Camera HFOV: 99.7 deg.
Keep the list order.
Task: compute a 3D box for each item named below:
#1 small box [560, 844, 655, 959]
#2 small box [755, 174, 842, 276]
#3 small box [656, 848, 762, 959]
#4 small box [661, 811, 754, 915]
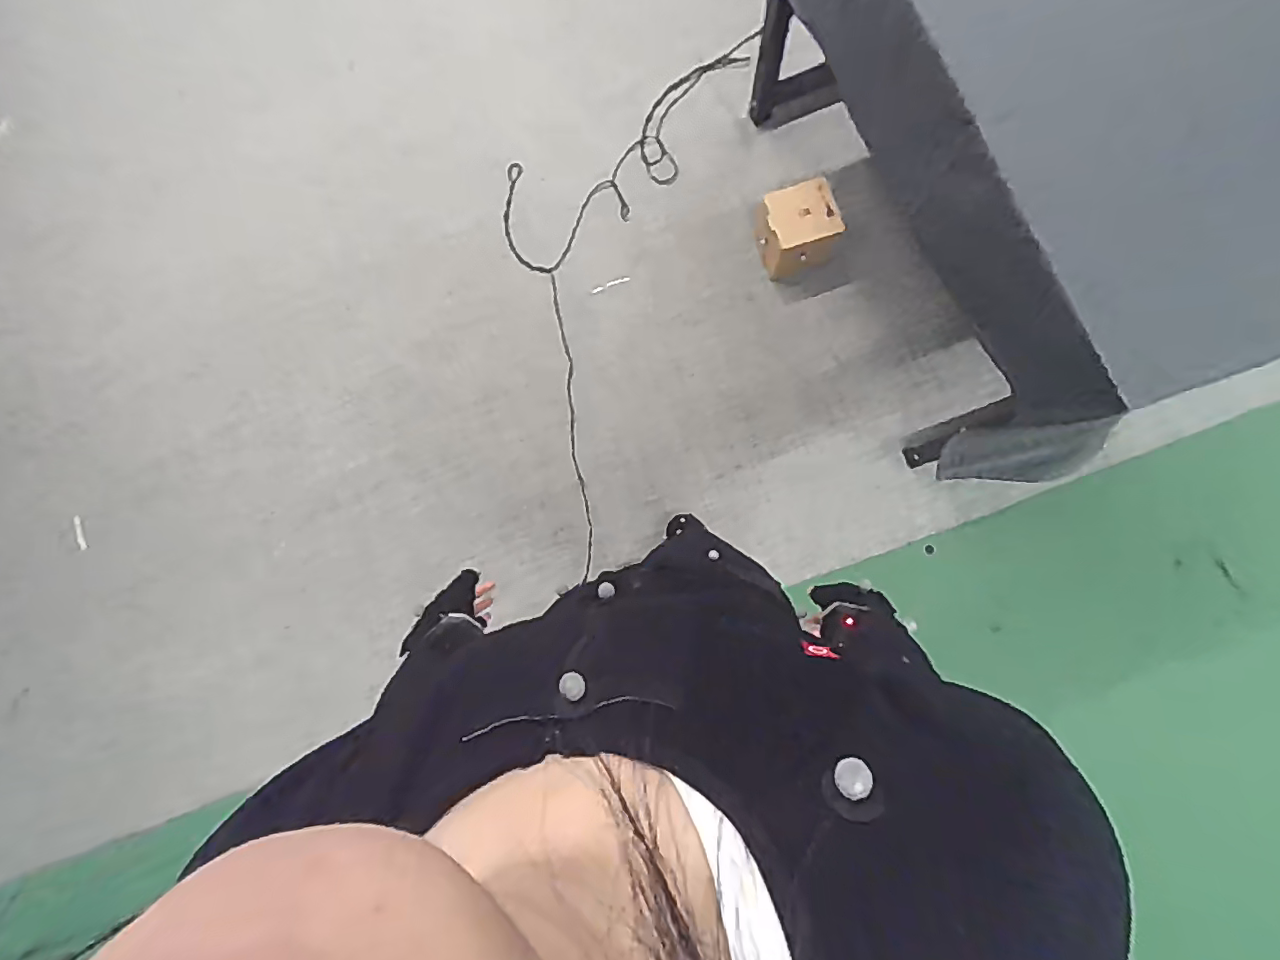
[{"bbox_3d":[-0.071,1.041,1.311,0.168,0.176,0.179,-26,83,0],"label":"small box"},{"bbox_3d":[0.423,-0.688,1.483,0.179,0.176,0.168,-17,82,1],"label":"small box"},{"bbox_3d":[0.141,0.928,1.147,0.179,0.176,0.168,-20,83,1],"label":"small box"},{"bbox_3d":[0.155,0.940,1.309,0.168,0.176,0.179,-23,83,0],"label":"small box"}]
